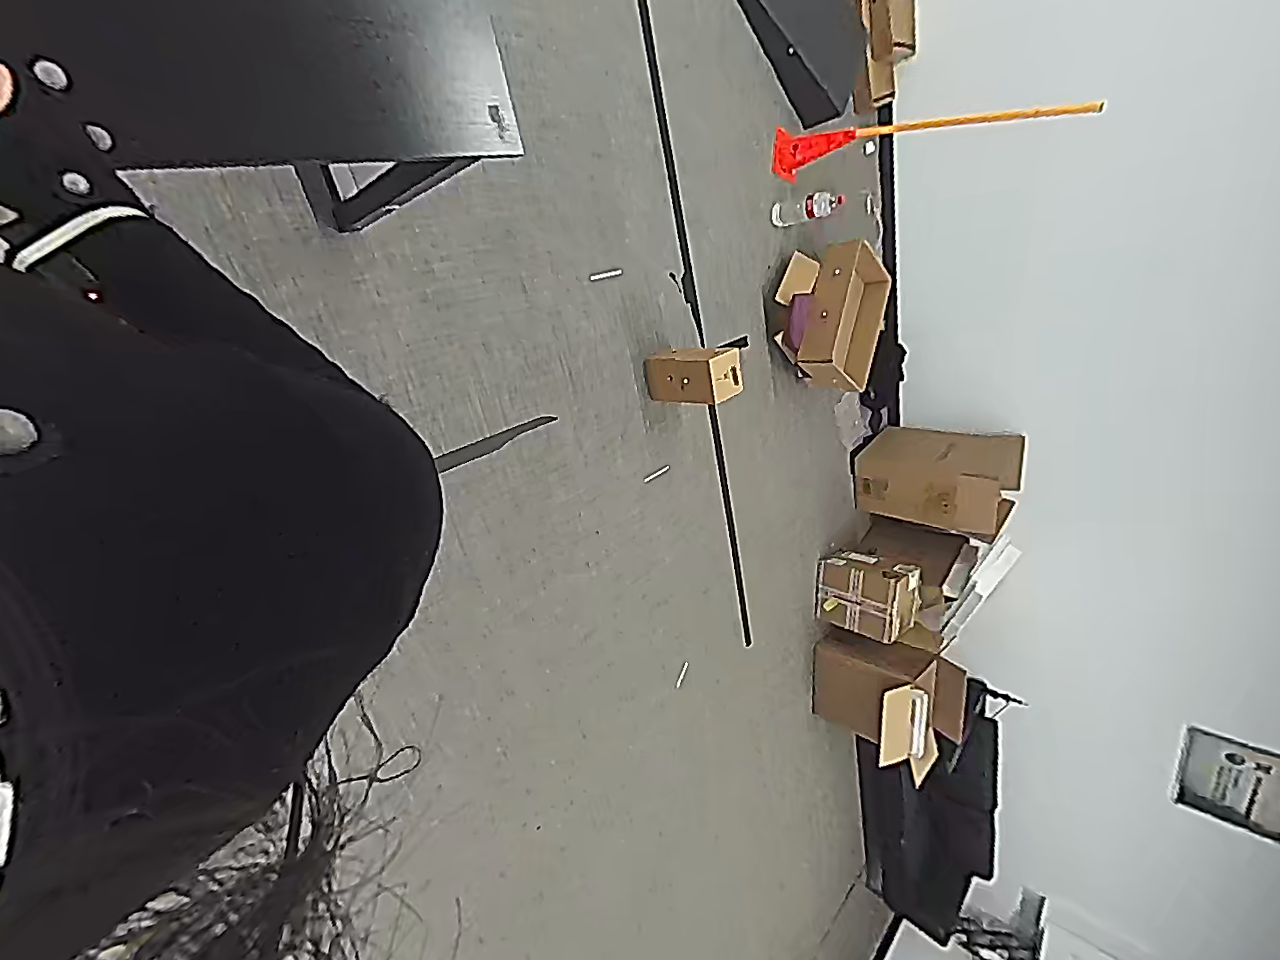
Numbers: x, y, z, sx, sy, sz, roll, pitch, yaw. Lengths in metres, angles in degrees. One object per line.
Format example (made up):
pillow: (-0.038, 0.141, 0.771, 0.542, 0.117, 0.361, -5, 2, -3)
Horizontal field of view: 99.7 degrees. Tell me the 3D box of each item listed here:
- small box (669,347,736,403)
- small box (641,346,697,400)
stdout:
small box: (0.234, -0.394, 2.013, 0.179, 0.176, 0.168, -30, 118, -37)
small box: (0.122, -0.422, 2.130, 0.168, 0.176, 0.179, -30, 118, -37)
